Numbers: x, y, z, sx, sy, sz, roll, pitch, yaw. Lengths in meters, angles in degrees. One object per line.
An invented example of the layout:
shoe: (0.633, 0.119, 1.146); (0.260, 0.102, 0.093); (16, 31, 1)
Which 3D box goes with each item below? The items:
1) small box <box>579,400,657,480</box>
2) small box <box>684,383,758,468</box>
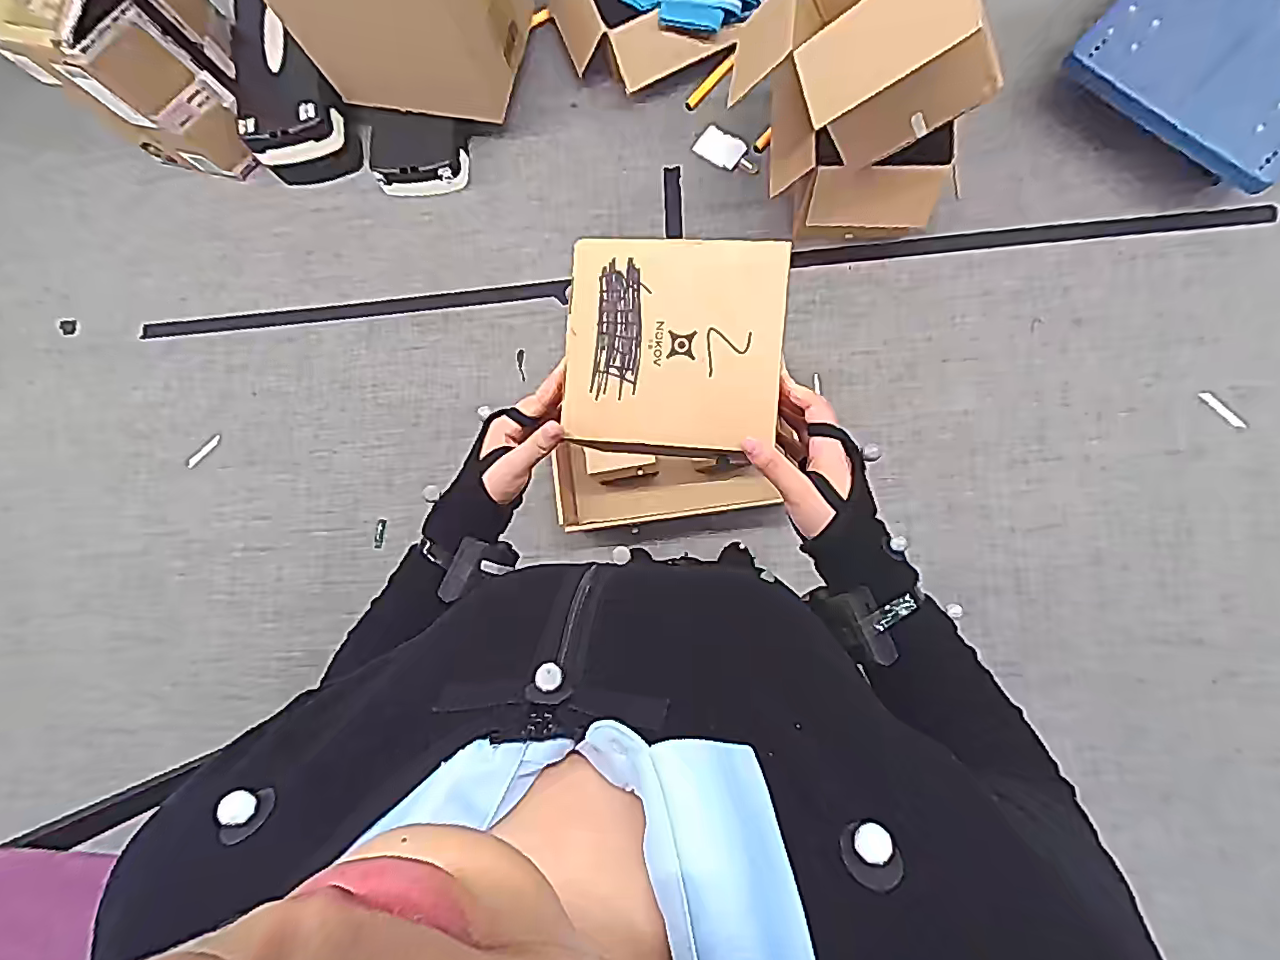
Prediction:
small box: (-0.051, -0.100, 1.421); (0.179, 0.176, 0.168); (-10, 82, 4)
small box: (0.205, -0.135, 1.400); (0.168, 0.176, 0.179); (-8, 83, 6)
